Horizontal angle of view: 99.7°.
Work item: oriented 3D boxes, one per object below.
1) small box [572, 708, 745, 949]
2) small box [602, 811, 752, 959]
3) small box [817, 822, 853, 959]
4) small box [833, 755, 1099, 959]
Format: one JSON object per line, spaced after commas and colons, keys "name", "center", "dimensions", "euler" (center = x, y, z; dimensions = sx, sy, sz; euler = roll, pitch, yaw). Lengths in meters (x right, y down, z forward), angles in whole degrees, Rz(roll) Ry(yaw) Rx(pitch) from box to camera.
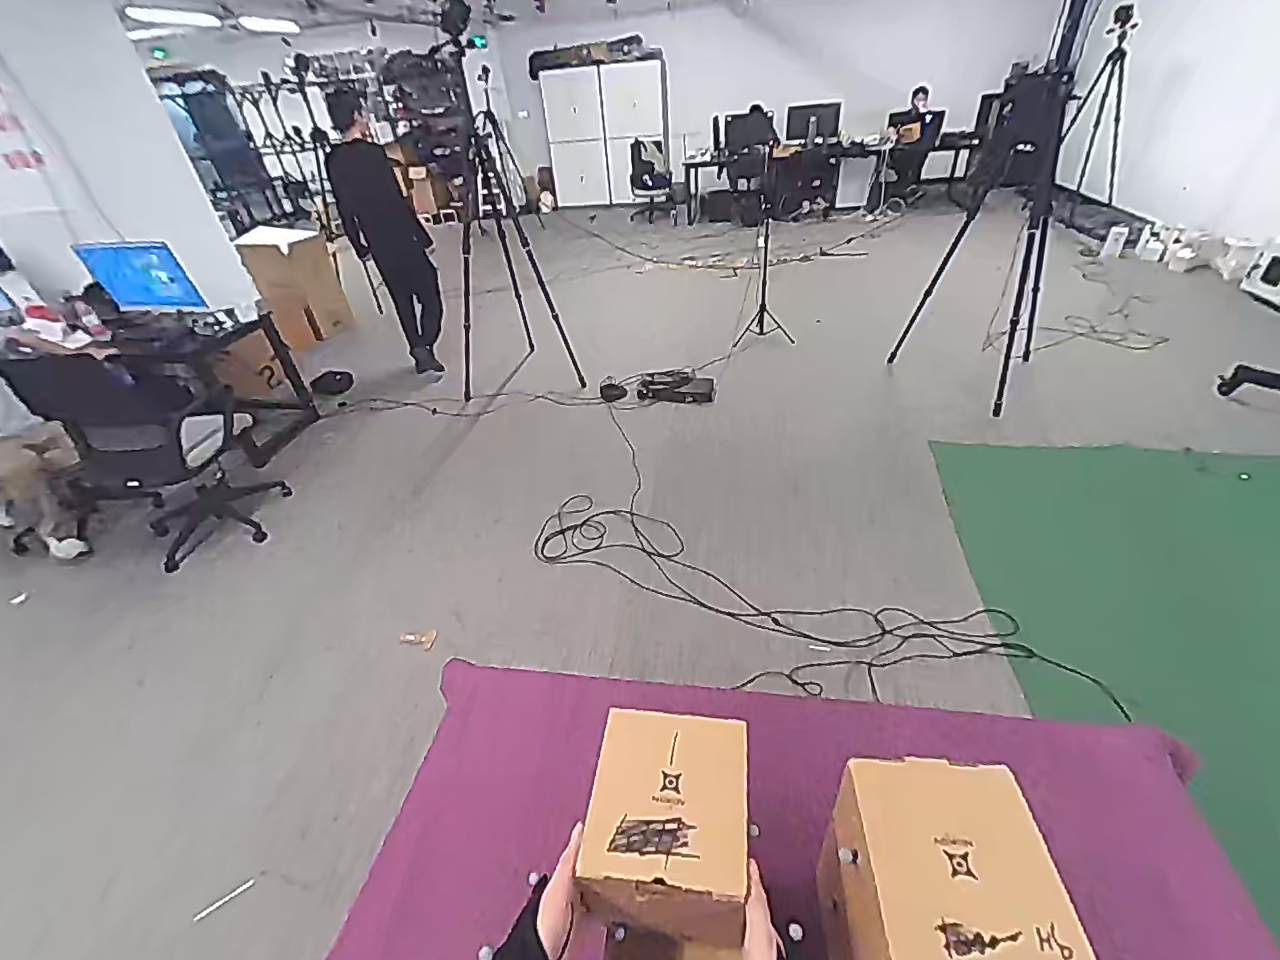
{"name": "small box", "center": [0.034, 0.391, 0.613], "dimensions": [0.168, 0.176, 0.179], "euler": [2, 36, 10]}
{"name": "small box", "center": [0.054, 0.541, 0.692], "dimensions": [0.168, 0.176, 0.179], "euler": [1, 38, 8]}
{"name": "small box", "center": [0.315, 0.546, 0.647], "dimensions": [0.168, 0.176, 0.179], "euler": [0, 37, 8]}
{"name": "small box", "center": [0.303, 0.413, 0.550], "dimensions": [0.168, 0.176, 0.179], "euler": [-1, 35, 7]}
